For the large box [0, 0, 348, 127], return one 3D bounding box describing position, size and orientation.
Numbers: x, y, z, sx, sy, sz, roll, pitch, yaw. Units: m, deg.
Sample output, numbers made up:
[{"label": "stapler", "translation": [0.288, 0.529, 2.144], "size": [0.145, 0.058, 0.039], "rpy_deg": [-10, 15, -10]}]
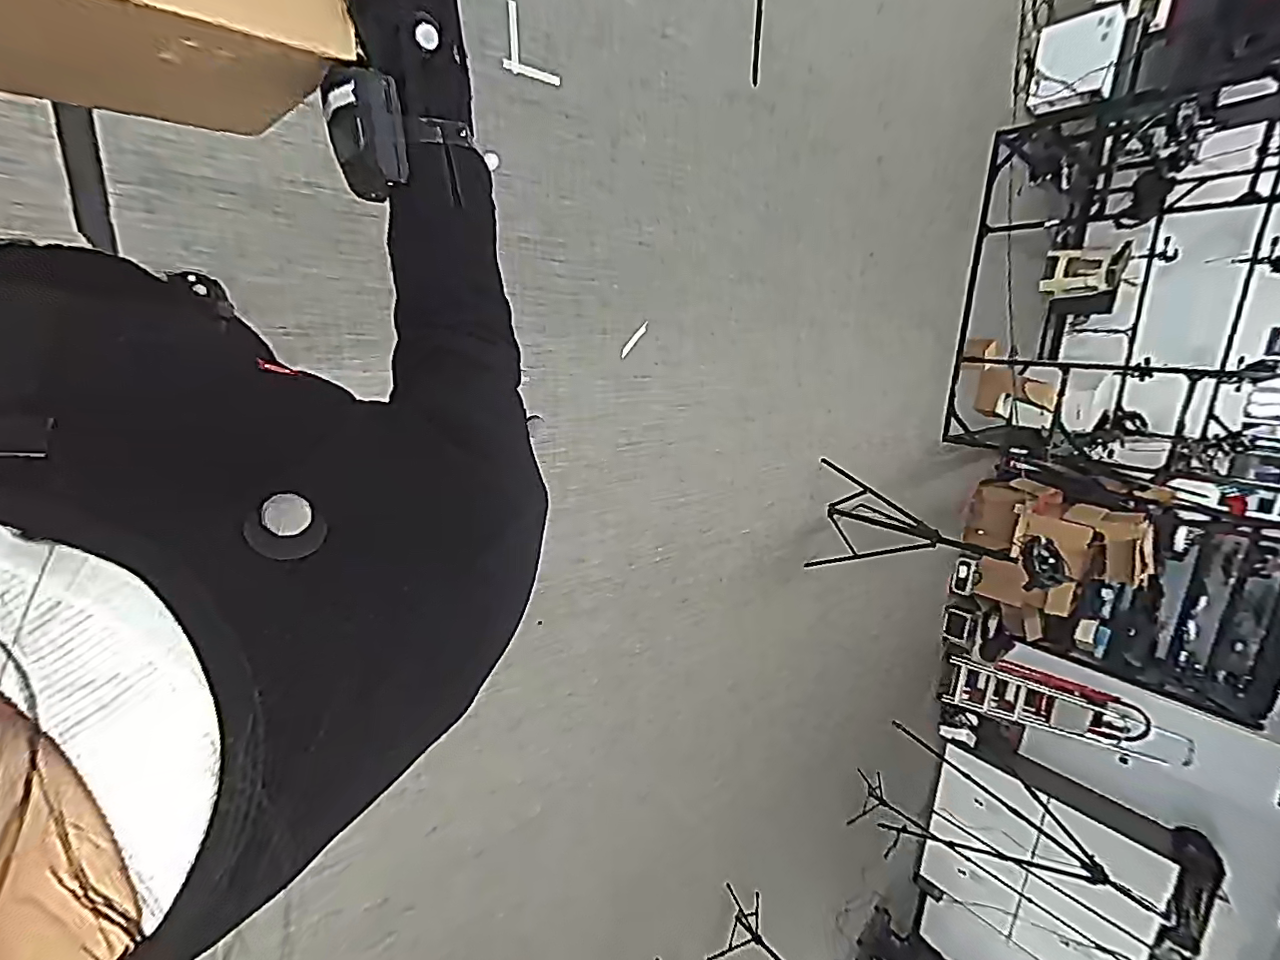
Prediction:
[{"label": "large box", "translation": [-0.419, -0.401, 0.251], "size": [0.408, 0.320, 0.320], "rpy_deg": [-16, 118, -40]}]
